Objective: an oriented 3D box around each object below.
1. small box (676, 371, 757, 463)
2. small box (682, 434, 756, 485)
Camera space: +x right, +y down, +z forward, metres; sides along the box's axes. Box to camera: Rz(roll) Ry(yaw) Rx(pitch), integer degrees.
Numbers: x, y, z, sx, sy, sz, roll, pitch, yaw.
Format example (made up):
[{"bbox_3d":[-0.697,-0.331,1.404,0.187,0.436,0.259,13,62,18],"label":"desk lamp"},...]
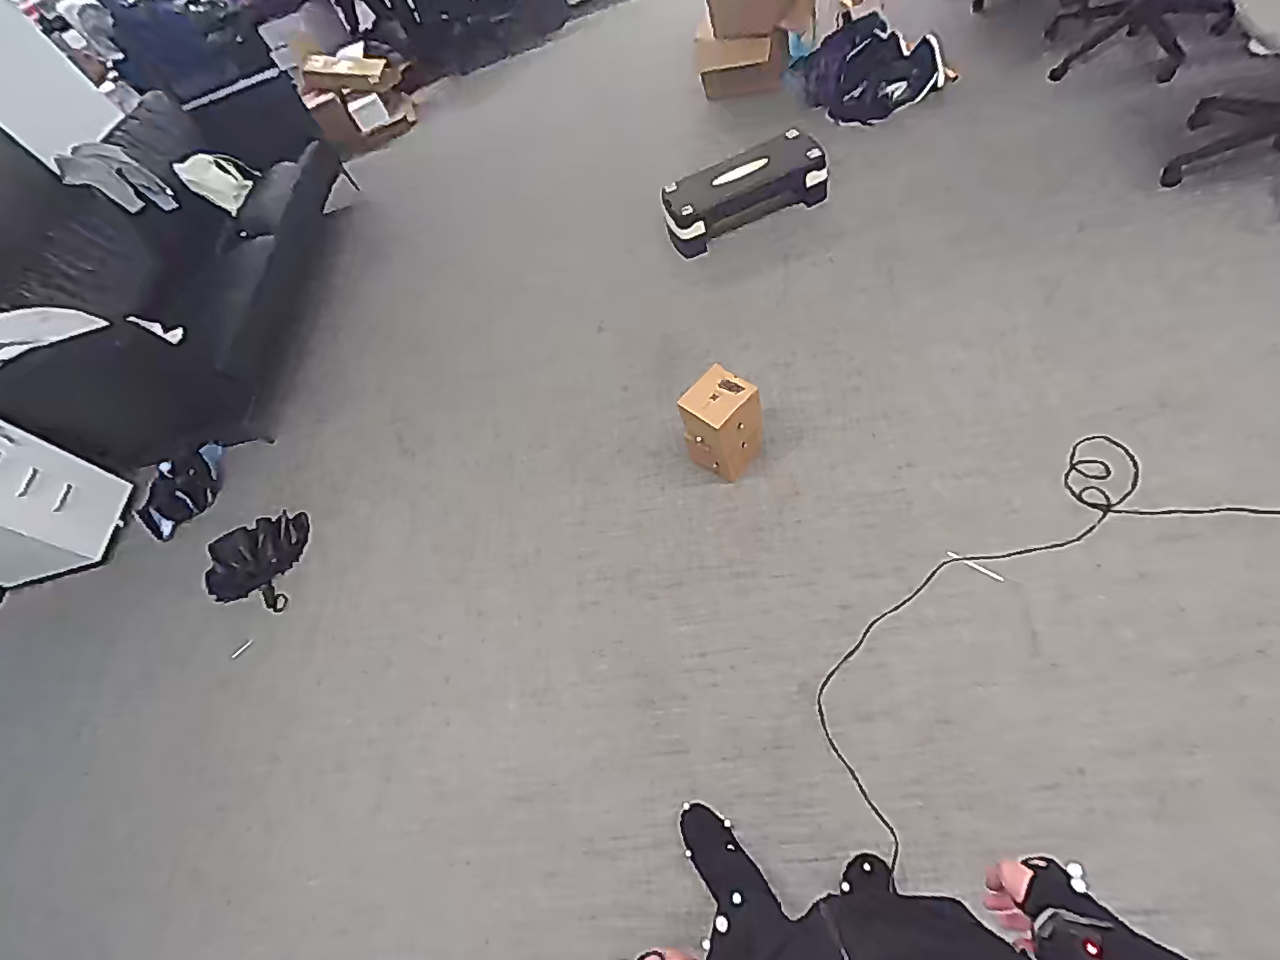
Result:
[{"bbox_3d":[0.234,-0.186,1.616,0.179,0.176,0.168,-45,58,-10],"label":"small box"},{"bbox_3d":[0.264,-0.113,1.760,0.168,0.176,0.179,30,71,30],"label":"small box"}]
